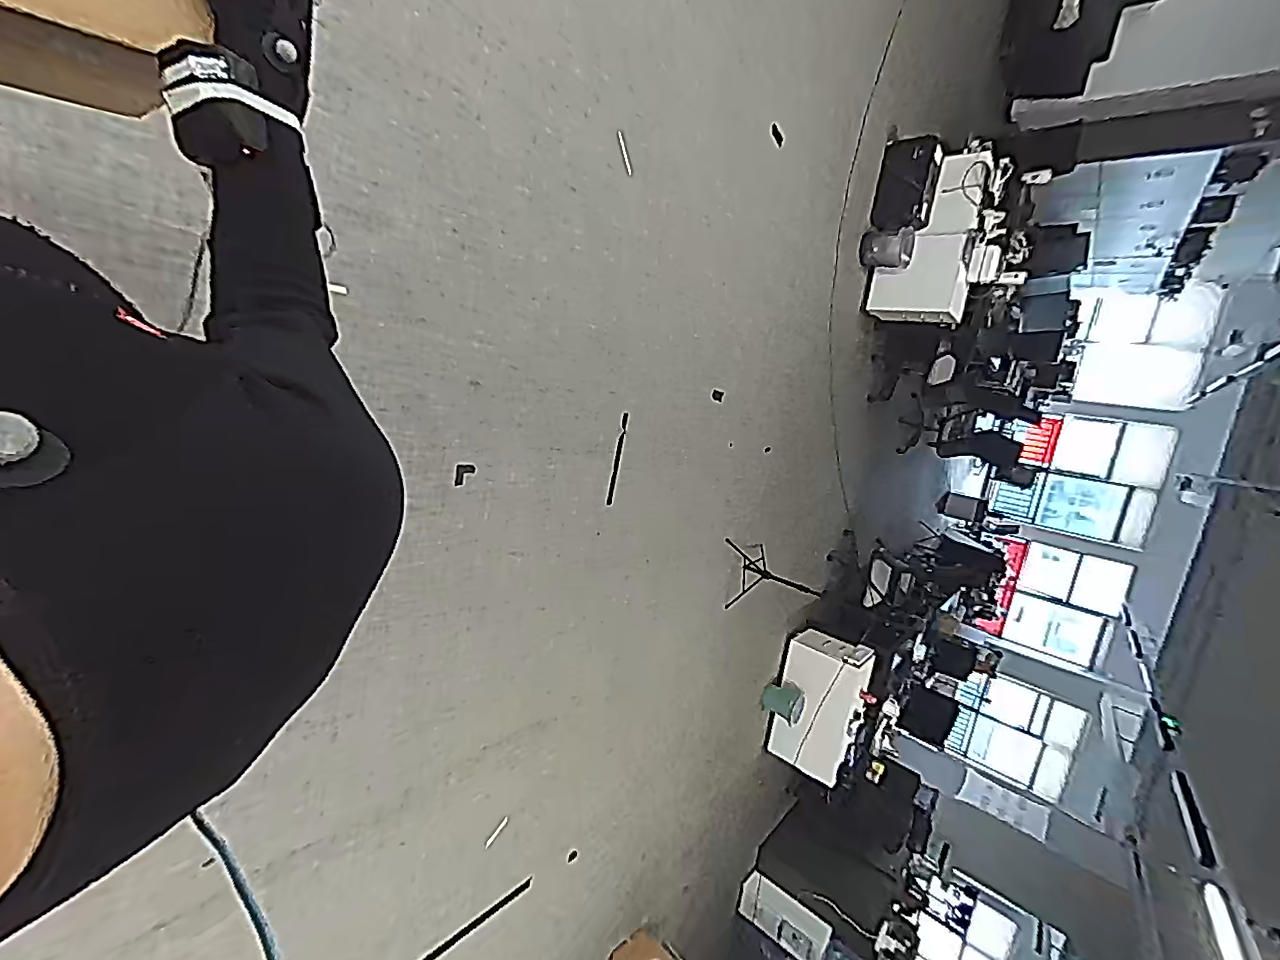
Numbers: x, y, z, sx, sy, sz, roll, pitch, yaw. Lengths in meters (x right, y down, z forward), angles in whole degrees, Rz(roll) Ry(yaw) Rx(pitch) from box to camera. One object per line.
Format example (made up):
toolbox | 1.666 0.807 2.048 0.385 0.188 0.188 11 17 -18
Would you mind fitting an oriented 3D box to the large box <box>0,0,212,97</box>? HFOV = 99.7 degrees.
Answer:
large box | -0.542 -0.468 0.293 0.408 0.320 0.320 -15 120 -49
